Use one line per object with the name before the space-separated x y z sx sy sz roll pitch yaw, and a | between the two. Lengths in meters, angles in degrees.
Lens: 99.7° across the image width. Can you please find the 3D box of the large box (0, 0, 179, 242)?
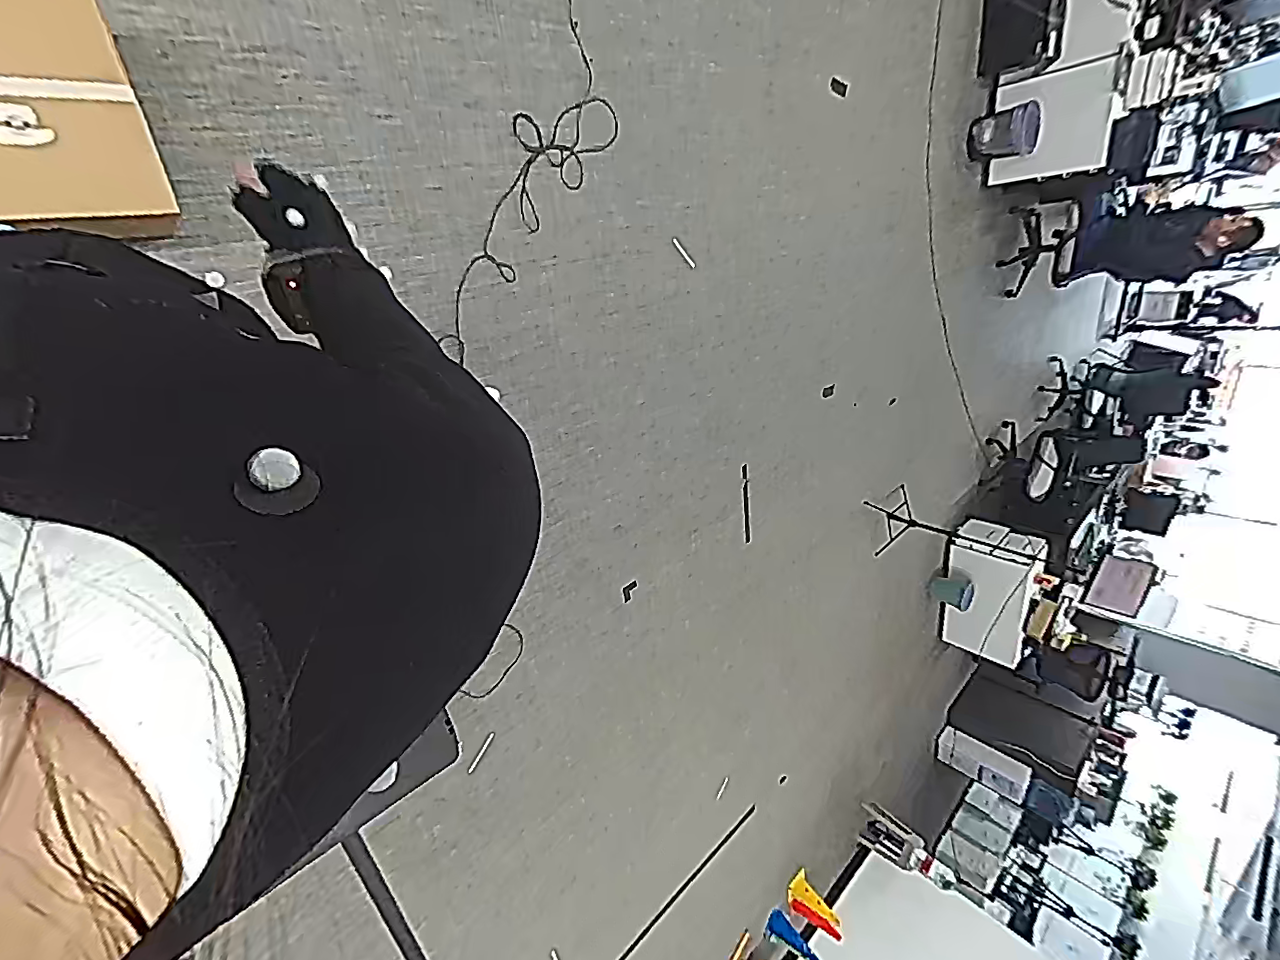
large box | -0.983 -0.528 0.779 0.408 0.320 0.320 -25 119 -36
